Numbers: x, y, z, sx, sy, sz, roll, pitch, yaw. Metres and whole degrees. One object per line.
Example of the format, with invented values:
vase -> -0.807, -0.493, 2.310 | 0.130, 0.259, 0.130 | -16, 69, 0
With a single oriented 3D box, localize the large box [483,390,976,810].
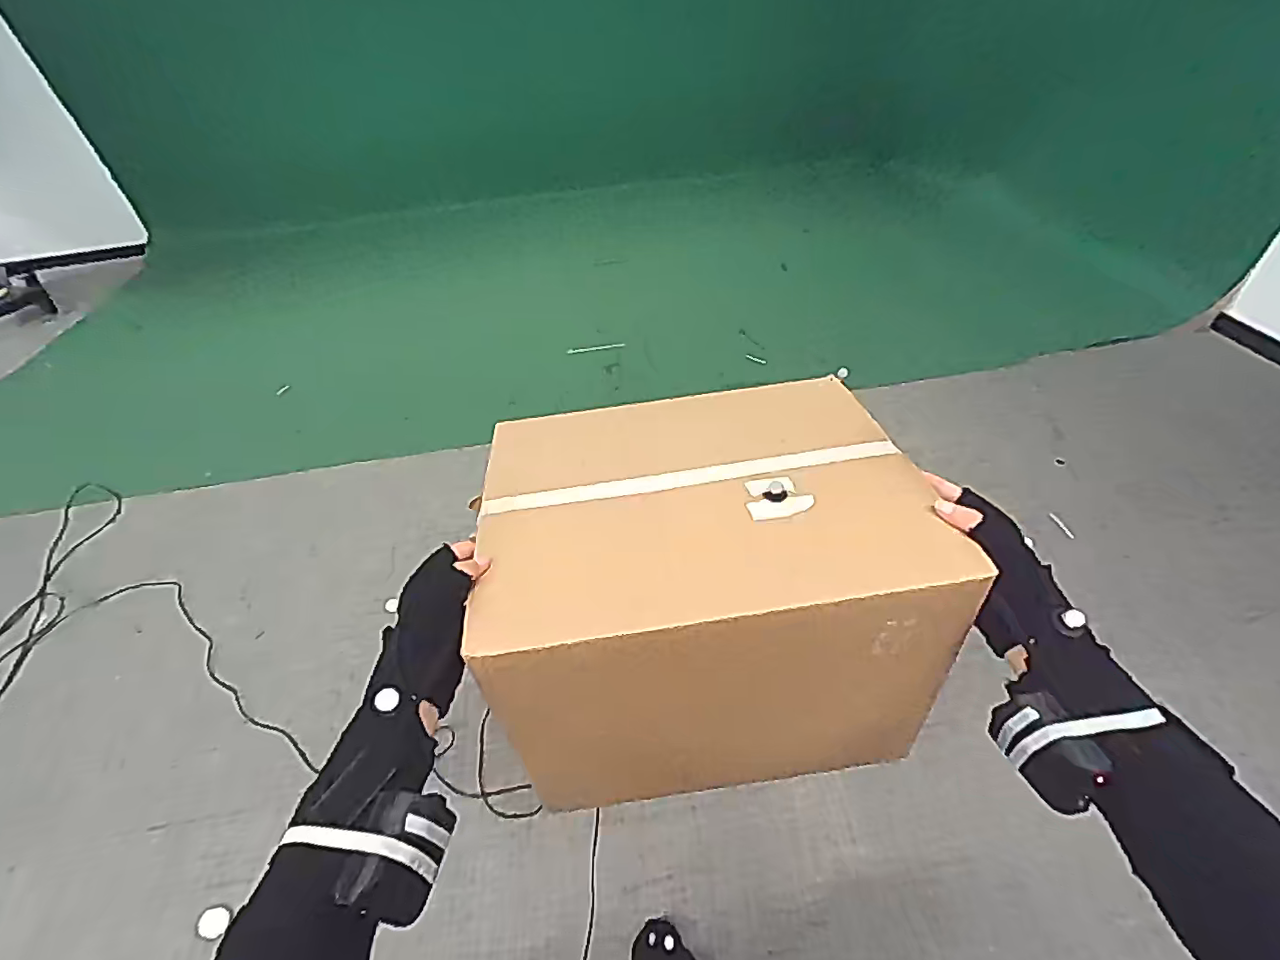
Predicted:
large box -> 0.066, 0.127, 0.625 | 0.408, 0.320, 0.320 | -8, 39, -3
